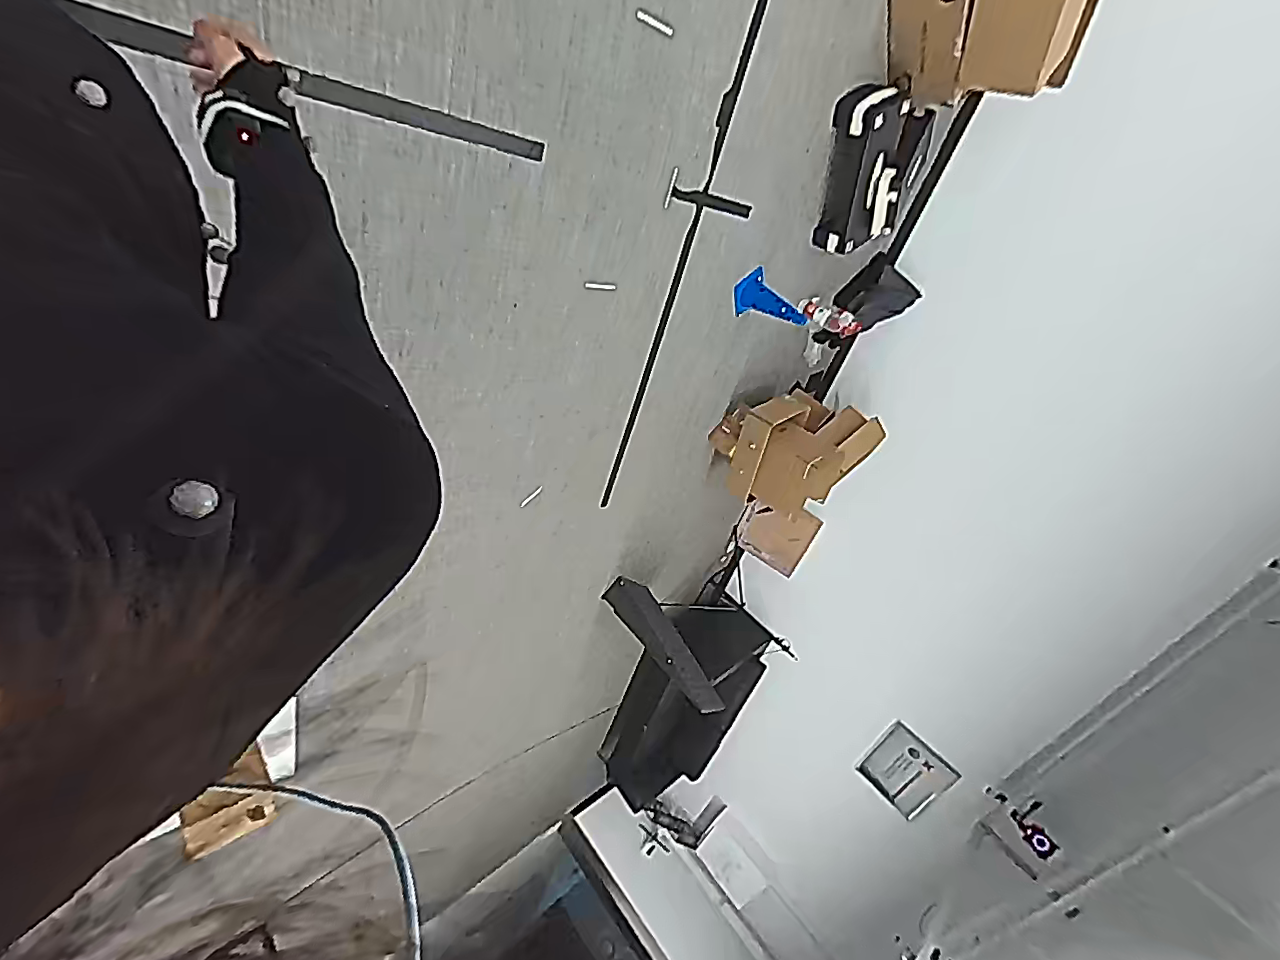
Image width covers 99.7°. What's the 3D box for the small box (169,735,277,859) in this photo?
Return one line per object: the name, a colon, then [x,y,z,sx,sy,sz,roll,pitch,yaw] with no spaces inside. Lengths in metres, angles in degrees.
small box: [-1.031,0.775,1.342,0.179,0.176,0.168,-15,135,-43]
